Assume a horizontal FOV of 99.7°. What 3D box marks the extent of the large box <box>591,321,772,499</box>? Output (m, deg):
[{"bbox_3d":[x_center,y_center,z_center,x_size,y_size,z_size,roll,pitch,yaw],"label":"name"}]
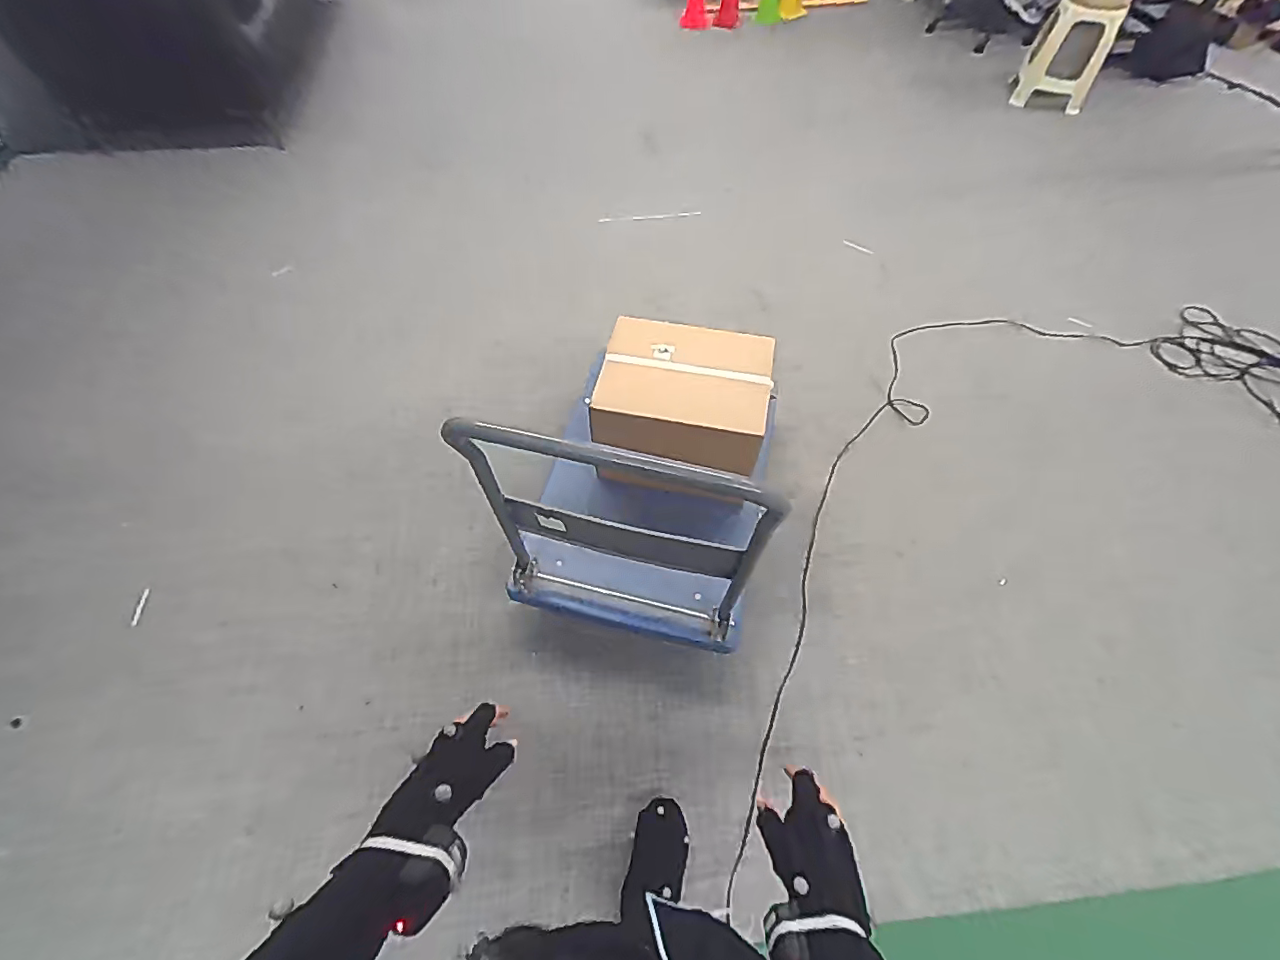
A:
[{"bbox_3d":[0.113,-0.176,1.424,0.408,0.320,0.320,9,58,7],"label":"large box"}]
